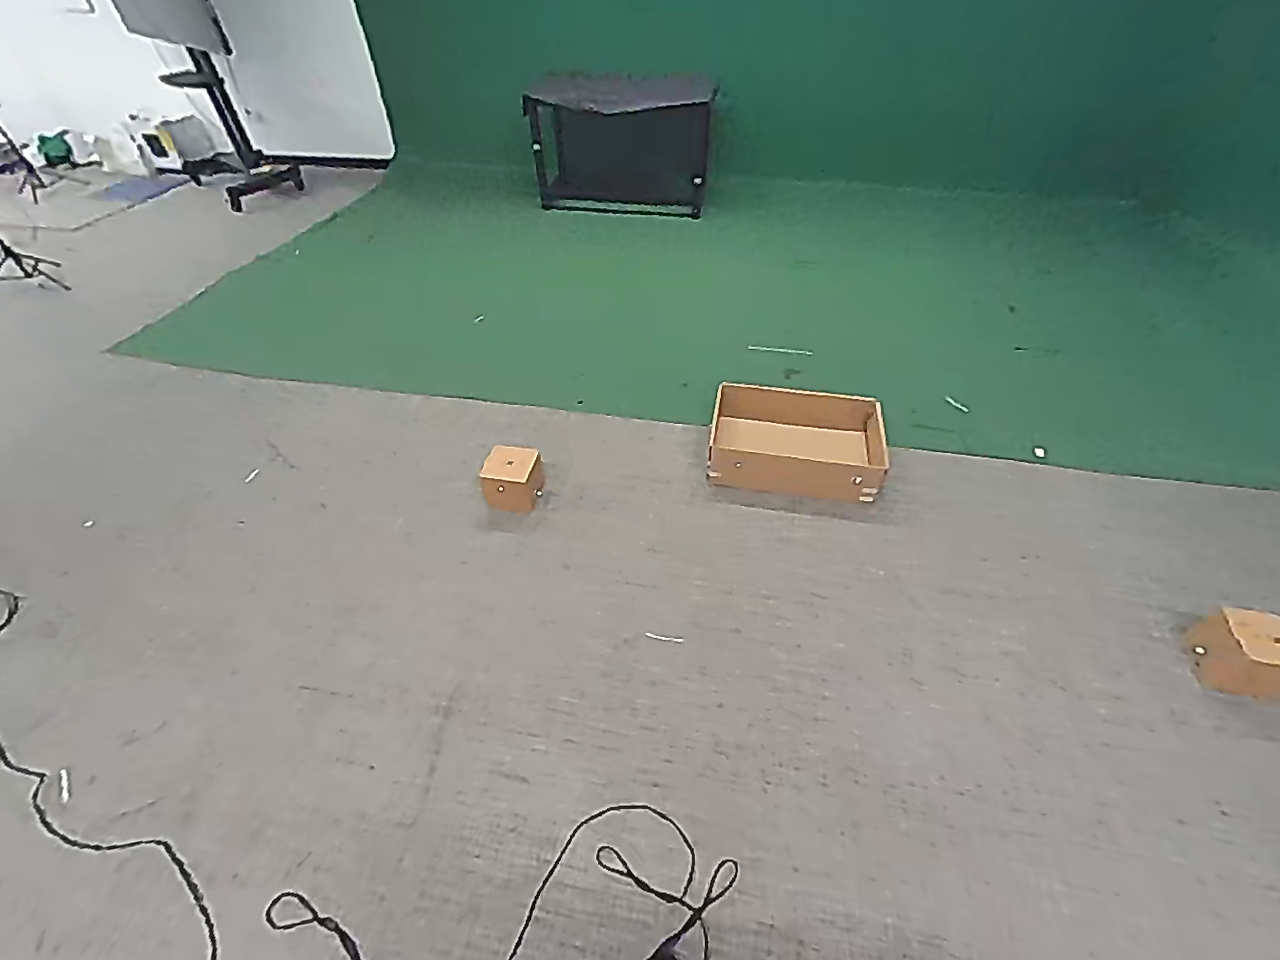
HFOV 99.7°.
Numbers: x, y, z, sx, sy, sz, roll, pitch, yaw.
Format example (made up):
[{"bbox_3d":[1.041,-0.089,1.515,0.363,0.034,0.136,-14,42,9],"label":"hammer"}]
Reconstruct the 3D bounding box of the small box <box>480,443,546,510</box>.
[{"bbox_3d":[-0.455,-0.010,1.960,0.179,0.176,0.168,8,48,6],"label":"small box"}]

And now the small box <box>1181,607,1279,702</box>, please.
[{"bbox_3d":[1.641,0.475,1.457,0.179,0.176,0.168,11,47,12],"label":"small box"}]
